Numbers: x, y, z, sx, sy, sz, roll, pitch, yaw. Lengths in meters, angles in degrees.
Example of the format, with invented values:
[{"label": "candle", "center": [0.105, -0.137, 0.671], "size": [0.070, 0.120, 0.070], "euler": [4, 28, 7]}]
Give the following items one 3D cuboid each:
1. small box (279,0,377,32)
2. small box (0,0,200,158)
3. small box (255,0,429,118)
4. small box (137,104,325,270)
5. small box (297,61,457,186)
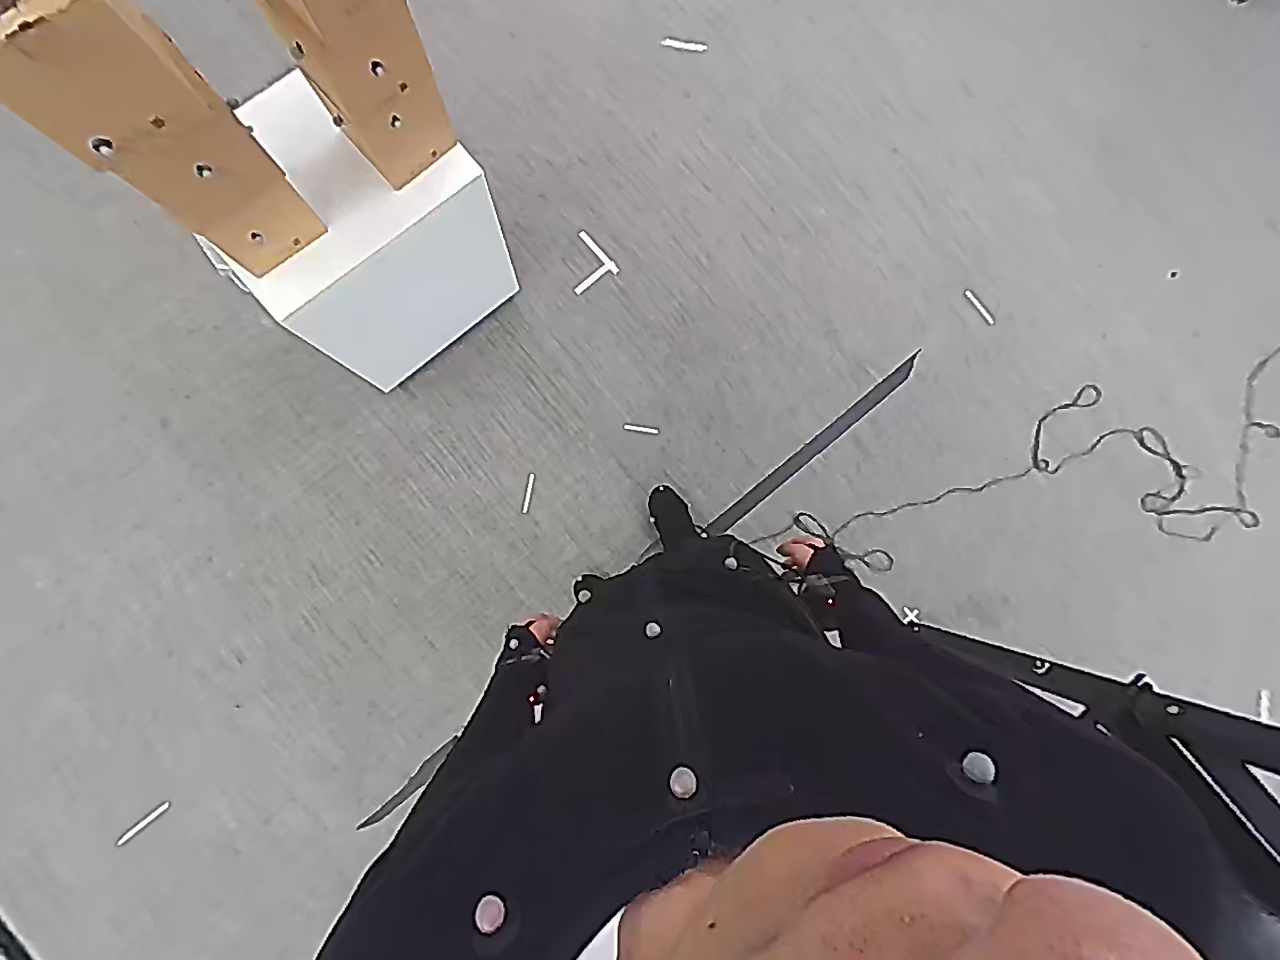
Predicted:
[{"label": "small box", "center": [-0.434, -0.726, 0.683], "size": [0.179, 0.176, 0.168], "euler": [43, 83, 0]}, {"label": "small box", "center": [-0.694, -0.528, 0.646], "size": [0.168, 0.176, 0.179], "euler": [-37, 88, -6]}, {"label": "small box", "center": [-0.465, -0.713, 0.843], "size": [0.168, 0.176, 0.179], "euler": [-42, 89, -6]}, {"label": "small box", "center": [-0.717, -0.509, 0.974], "size": [0.168, 0.176, 0.179], "euler": [-40, 89, -7]}, {"label": "small box", "center": [-0.477, -0.699, 1.007], "size": [0.168, 0.176, 0.179], "euler": [-43, 89, -5]}]
